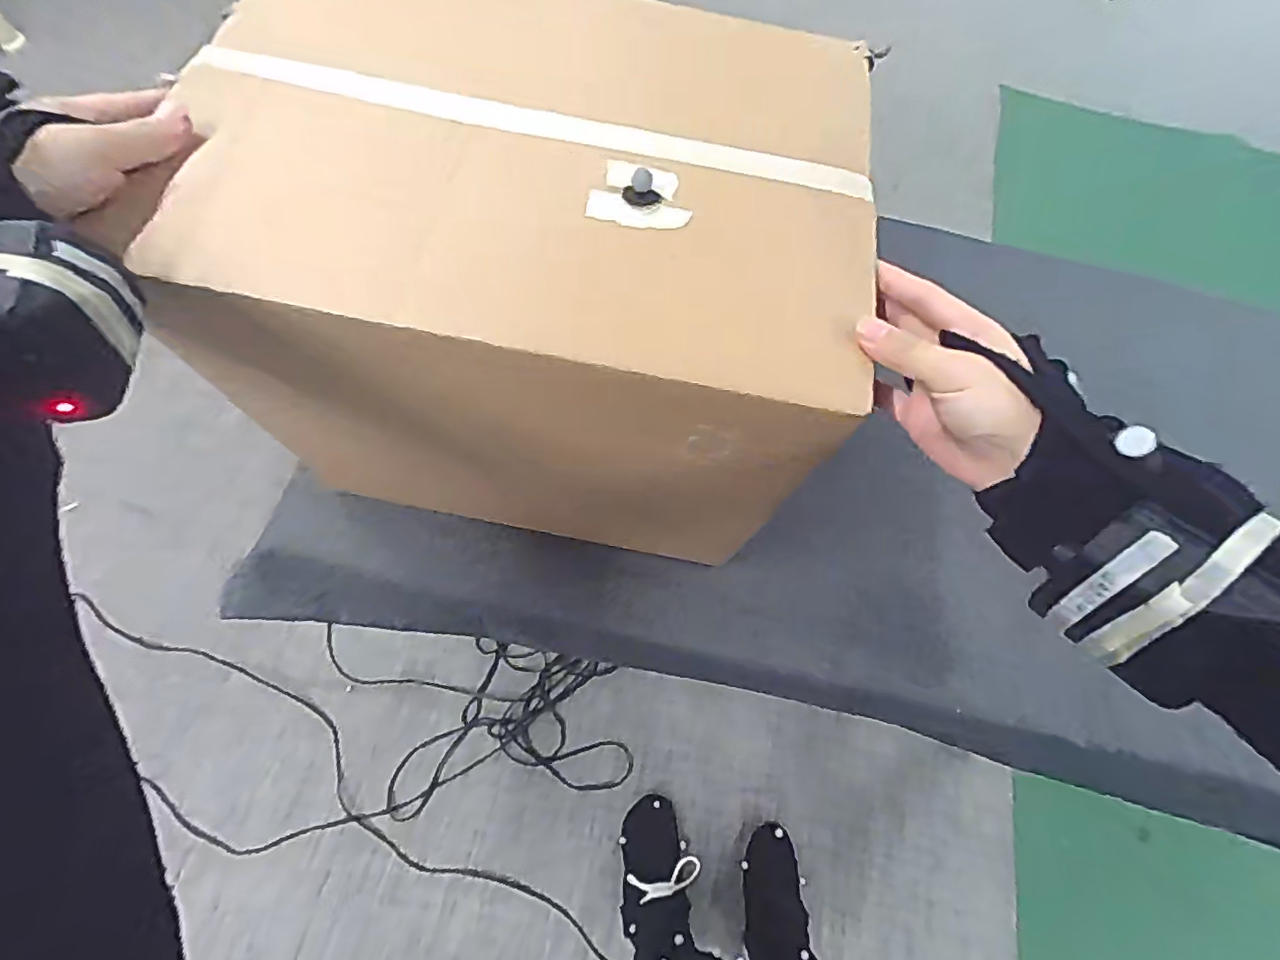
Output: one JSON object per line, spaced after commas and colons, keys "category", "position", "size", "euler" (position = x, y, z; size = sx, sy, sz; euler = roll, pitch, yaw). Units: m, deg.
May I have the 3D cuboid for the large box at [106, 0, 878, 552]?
{"category": "large box", "position": [-0.065, -0.152, 0.468], "size": [0.408, 0.320, 0.320], "euler": [11, 68, -2]}
